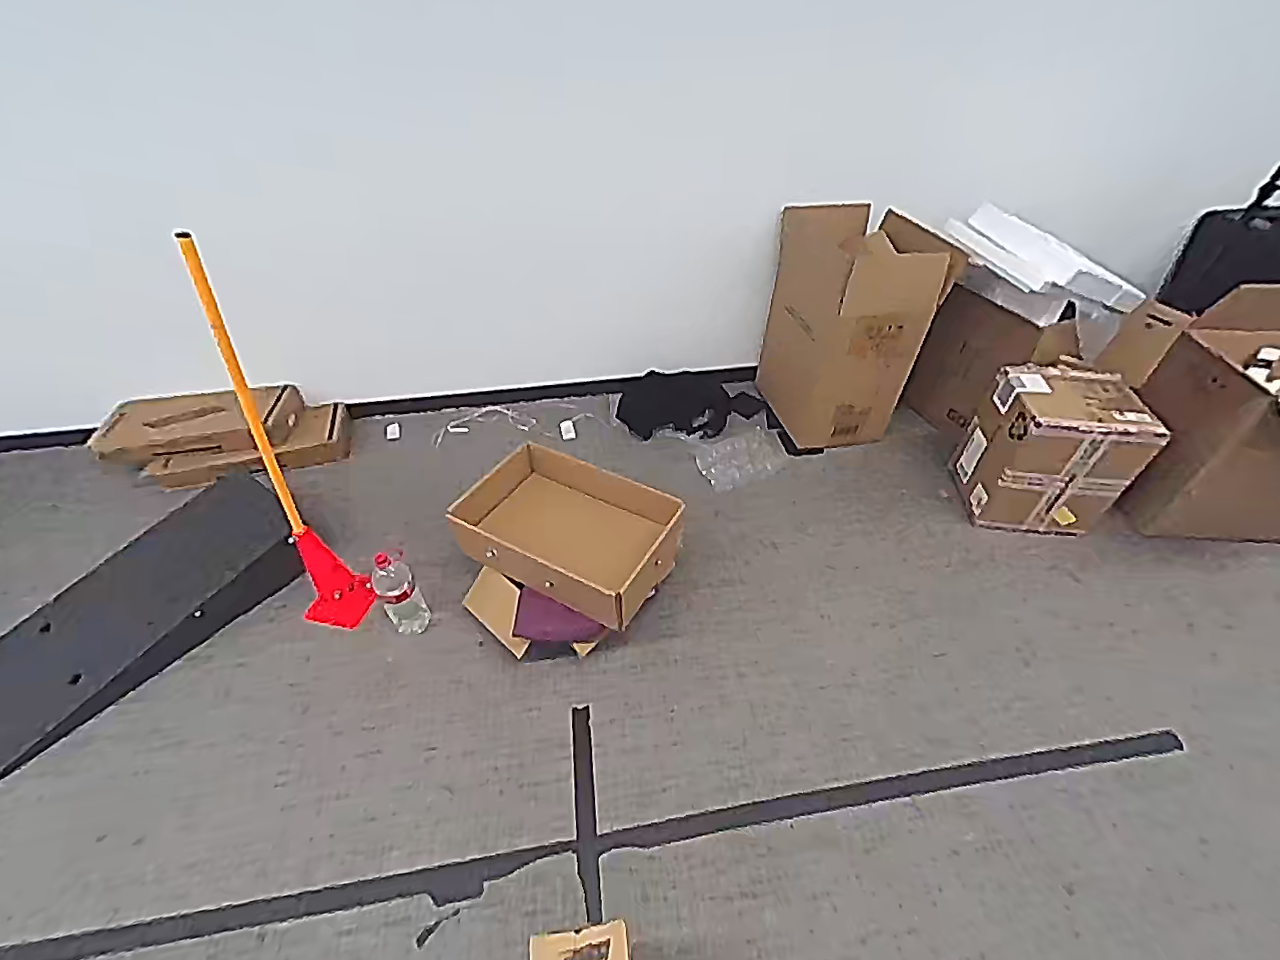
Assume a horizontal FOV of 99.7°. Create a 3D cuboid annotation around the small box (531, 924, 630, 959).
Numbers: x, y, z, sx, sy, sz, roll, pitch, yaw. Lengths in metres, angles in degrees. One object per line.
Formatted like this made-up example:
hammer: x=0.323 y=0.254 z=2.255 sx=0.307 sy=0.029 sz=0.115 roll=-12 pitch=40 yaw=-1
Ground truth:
small box: x=-0.094 y=0.888 z=0.915 sx=0.168 sy=0.176 sz=0.179 roll=-6 pitch=44 yaw=-5
